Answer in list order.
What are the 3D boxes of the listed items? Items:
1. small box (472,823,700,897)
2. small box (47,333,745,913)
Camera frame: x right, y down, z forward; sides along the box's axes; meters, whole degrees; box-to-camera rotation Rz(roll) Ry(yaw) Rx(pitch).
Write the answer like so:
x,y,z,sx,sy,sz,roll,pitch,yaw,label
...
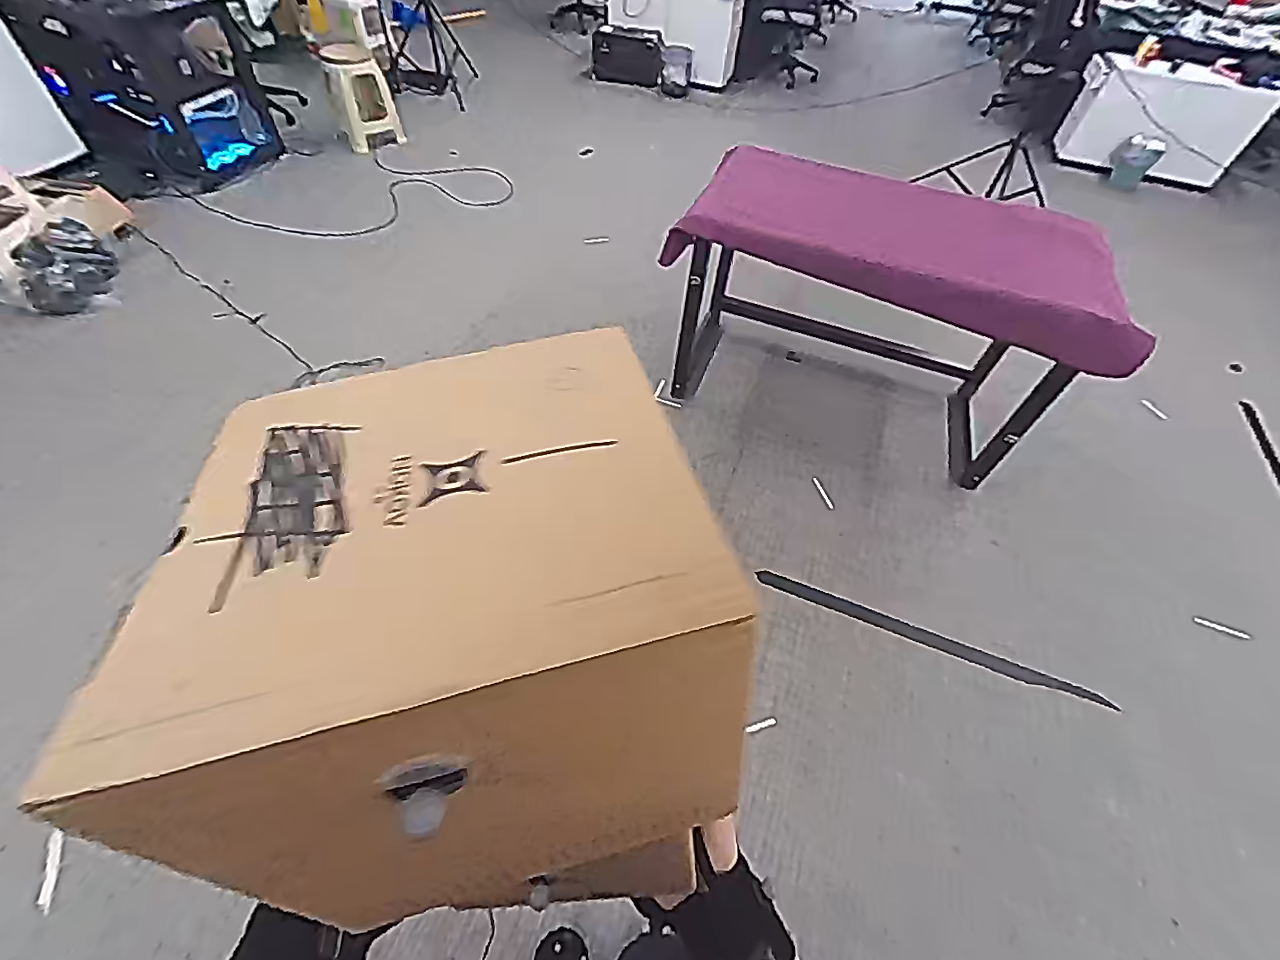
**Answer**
x,y,z,sx,sy,sz,roll,pitch,yaw,label
-0.051,0.166,0.371,0.168,0.176,0.179,-6,43,2,small box
-0.063,0.062,0.243,0.179,0.176,0.168,-13,44,-6,small box
